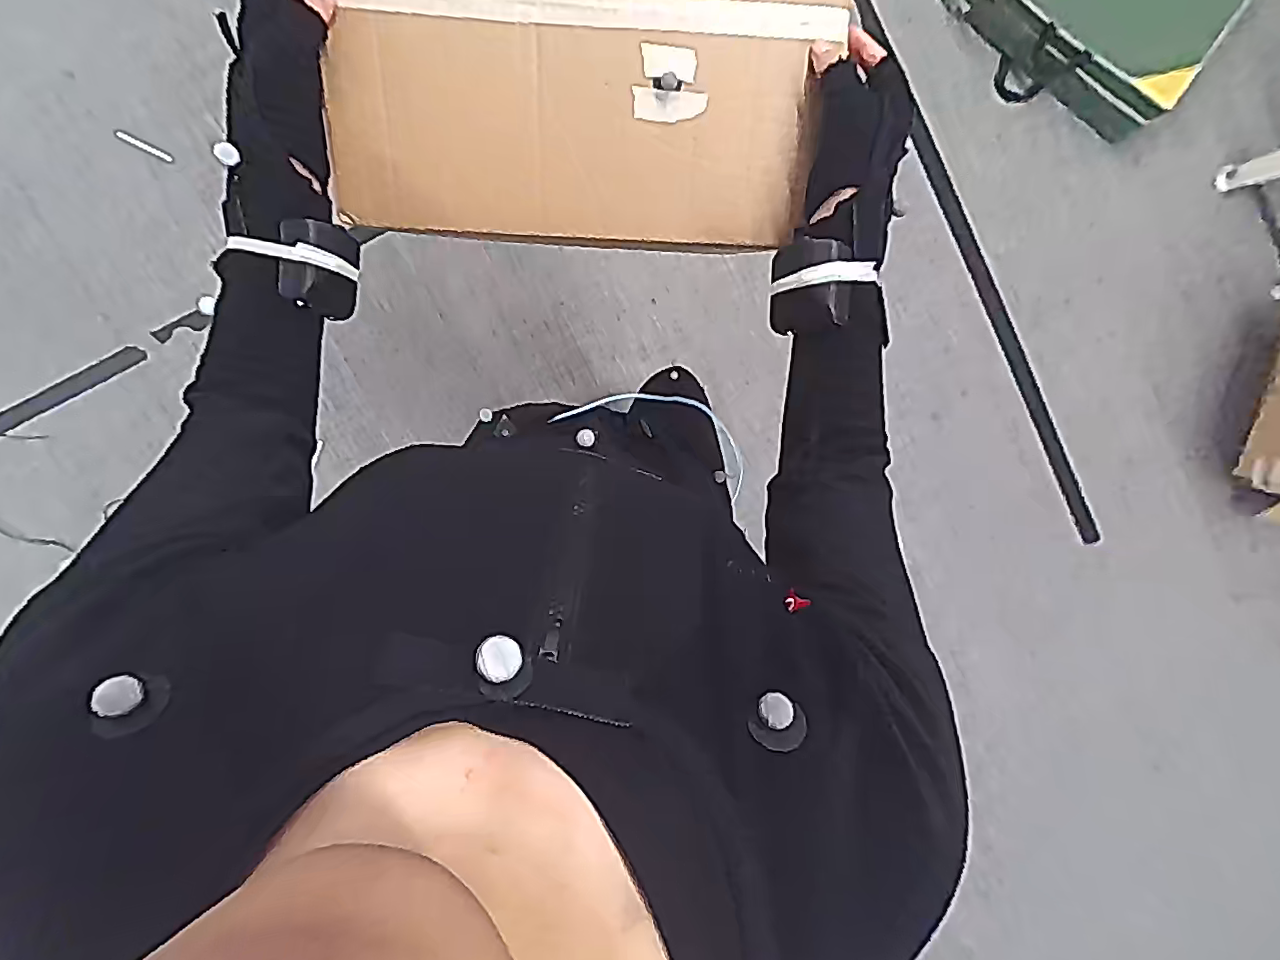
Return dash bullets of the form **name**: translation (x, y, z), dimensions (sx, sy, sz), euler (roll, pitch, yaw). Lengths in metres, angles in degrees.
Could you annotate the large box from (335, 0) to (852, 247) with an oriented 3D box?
- **large box**: translation (-0.042, -0.417, 0.554), dimensions (0.408, 0.320, 0.320), euler (1, 113, -5)
